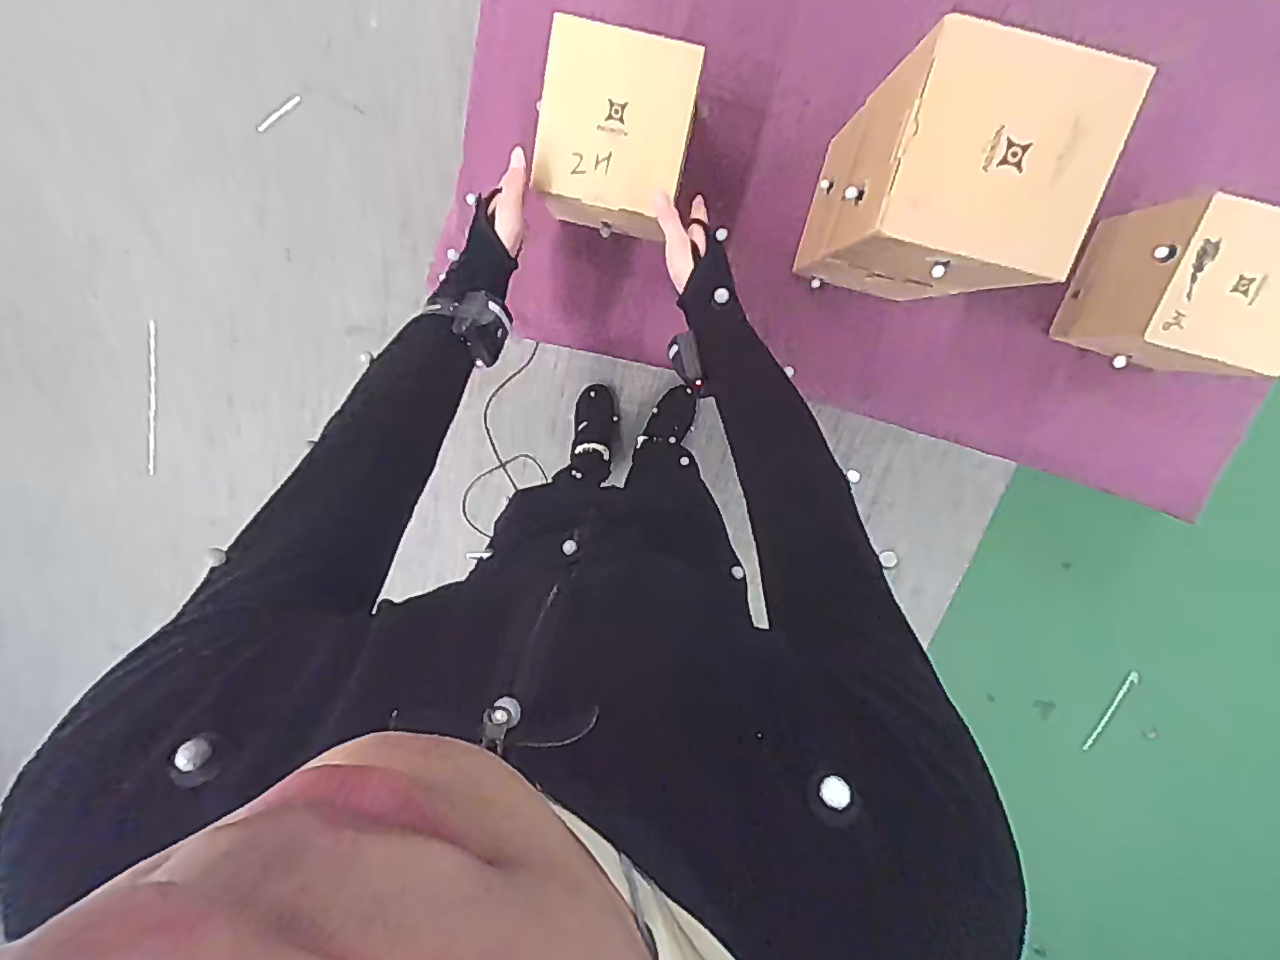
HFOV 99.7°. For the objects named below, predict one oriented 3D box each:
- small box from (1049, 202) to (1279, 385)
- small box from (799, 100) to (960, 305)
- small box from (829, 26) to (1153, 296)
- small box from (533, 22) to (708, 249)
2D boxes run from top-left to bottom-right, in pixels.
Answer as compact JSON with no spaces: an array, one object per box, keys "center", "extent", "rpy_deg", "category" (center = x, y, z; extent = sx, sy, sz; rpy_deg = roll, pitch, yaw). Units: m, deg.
[{"center":[0.694,-0.231,0.695],"extent":[0.179,0.176,0.168],"rpy_deg":[15,104,-2],"category":"small box"},{"center":[0.315,-0.329,0.682],"extent":[0.168,0.176,0.179],"rpy_deg":[13,104,-2],"category":"small box"},{"center":[0.309,-0.283,0.525],"extent":[0.179,0.176,0.168],"rpy_deg":[13,106,-3],"category":"small box"},{"center":[-0.023,-0.405,0.670],"extent":[0.168,0.176,0.179],"rpy_deg":[12,105,-1],"category":"small box"}]
